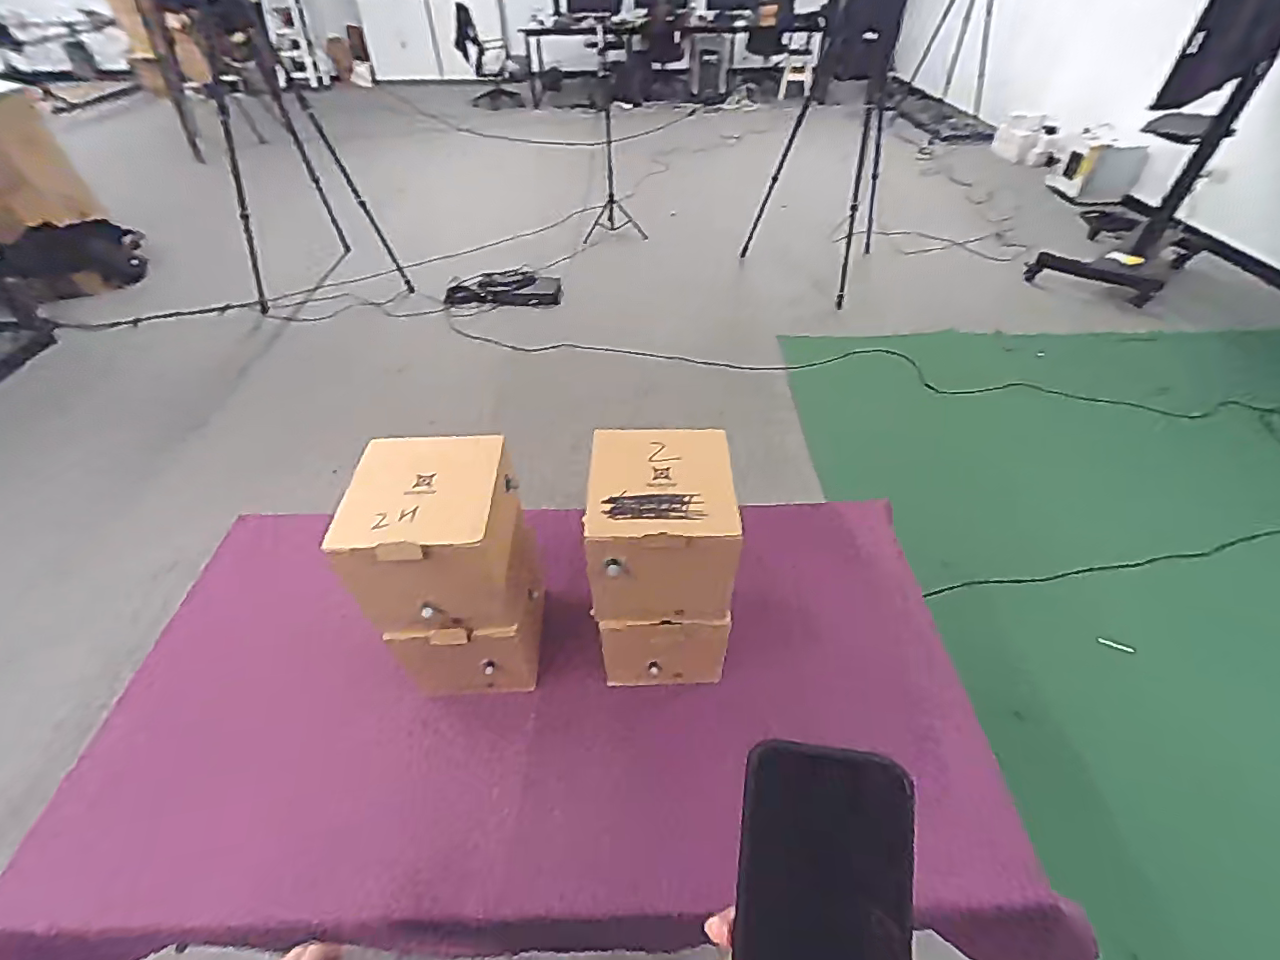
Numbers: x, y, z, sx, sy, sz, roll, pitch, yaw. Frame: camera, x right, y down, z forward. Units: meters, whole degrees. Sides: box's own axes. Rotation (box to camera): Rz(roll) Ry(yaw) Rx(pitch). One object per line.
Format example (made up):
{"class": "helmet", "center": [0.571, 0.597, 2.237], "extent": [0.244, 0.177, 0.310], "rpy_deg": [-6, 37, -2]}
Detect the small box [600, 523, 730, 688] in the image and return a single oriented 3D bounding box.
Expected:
{"class": "small box", "center": [0.030, 0.182, 0.787], "extent": [0.168, 0.176, 0.179], "rpy_deg": [-2, 46, -1]}

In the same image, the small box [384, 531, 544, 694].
{"class": "small box", "center": [-0.235, 0.195, 0.778], "extent": [0.168, 0.176, 0.179], "rpy_deg": [-1, 44, -1]}

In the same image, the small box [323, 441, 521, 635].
{"class": "small box", "center": [-0.247, 0.071, 0.669], "extent": [0.168, 0.176, 0.179], "rpy_deg": [-2, 45, -1]}
